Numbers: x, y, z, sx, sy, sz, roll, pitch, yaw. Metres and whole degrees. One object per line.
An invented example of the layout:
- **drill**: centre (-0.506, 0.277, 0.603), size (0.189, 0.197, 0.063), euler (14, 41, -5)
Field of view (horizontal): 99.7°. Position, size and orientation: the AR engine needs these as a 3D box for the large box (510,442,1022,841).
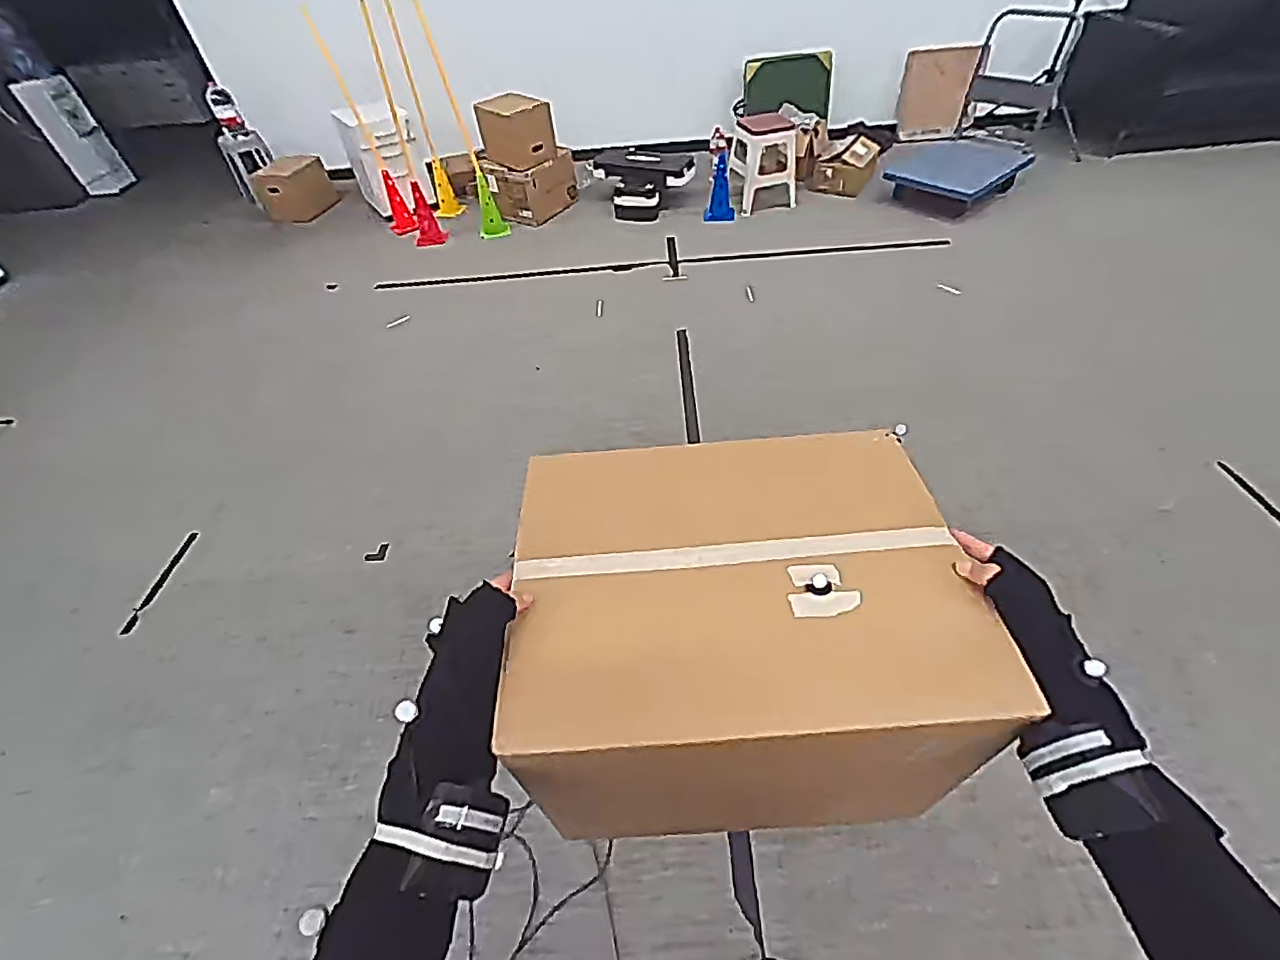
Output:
- **large box**: centre (0.095, 0.185, 0.619), size (0.408, 0.320, 0.320), euler (-5, 46, 1)
